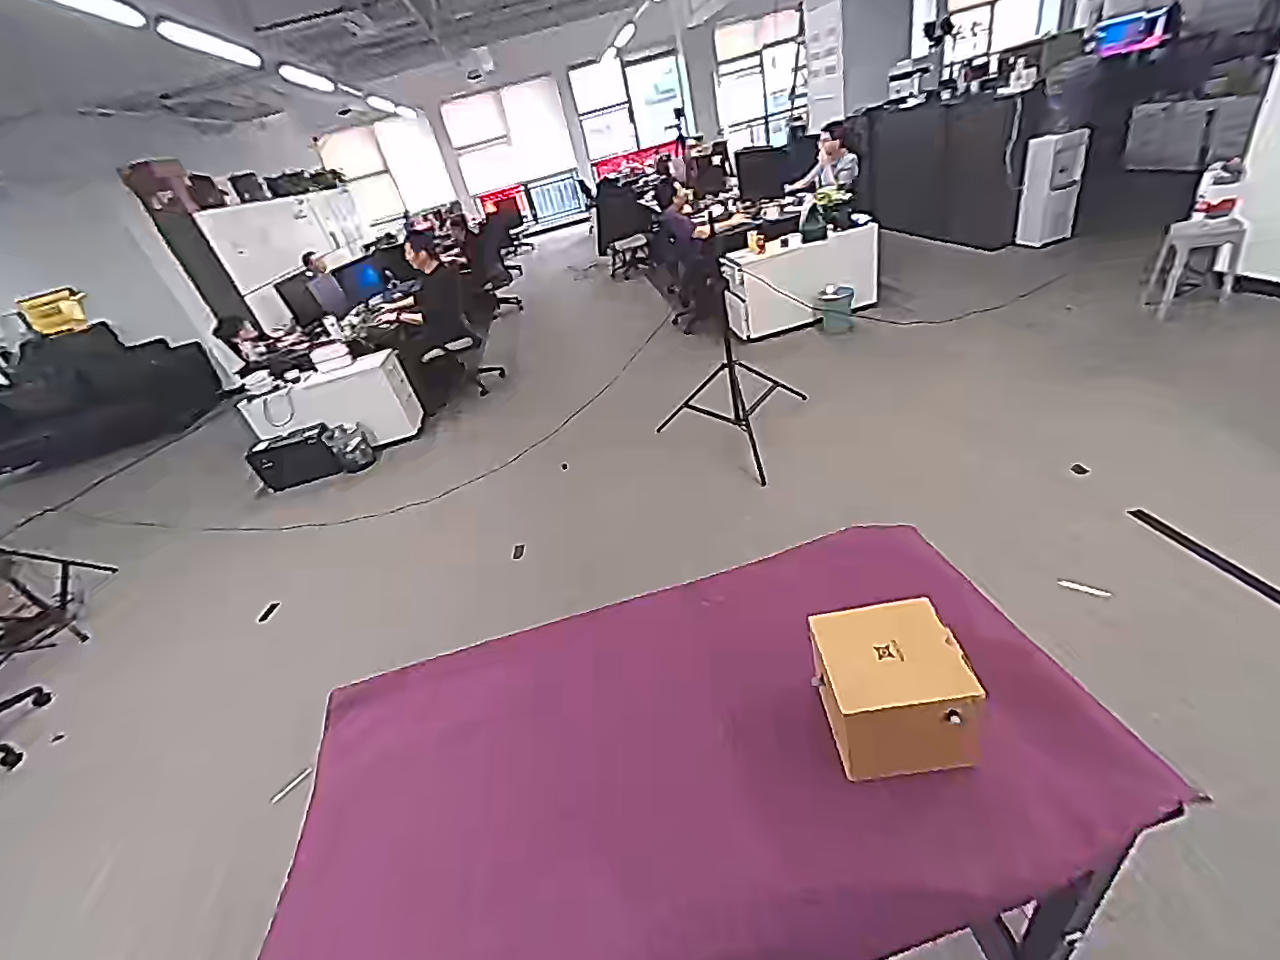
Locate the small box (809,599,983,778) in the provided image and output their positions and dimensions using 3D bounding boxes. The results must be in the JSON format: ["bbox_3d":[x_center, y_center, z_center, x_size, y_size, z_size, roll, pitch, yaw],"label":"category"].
[{"bbox_3d":[0.357,0.301,0.778,0.179,0.176,0.168,-12,32,7],"label":"small box"}]
